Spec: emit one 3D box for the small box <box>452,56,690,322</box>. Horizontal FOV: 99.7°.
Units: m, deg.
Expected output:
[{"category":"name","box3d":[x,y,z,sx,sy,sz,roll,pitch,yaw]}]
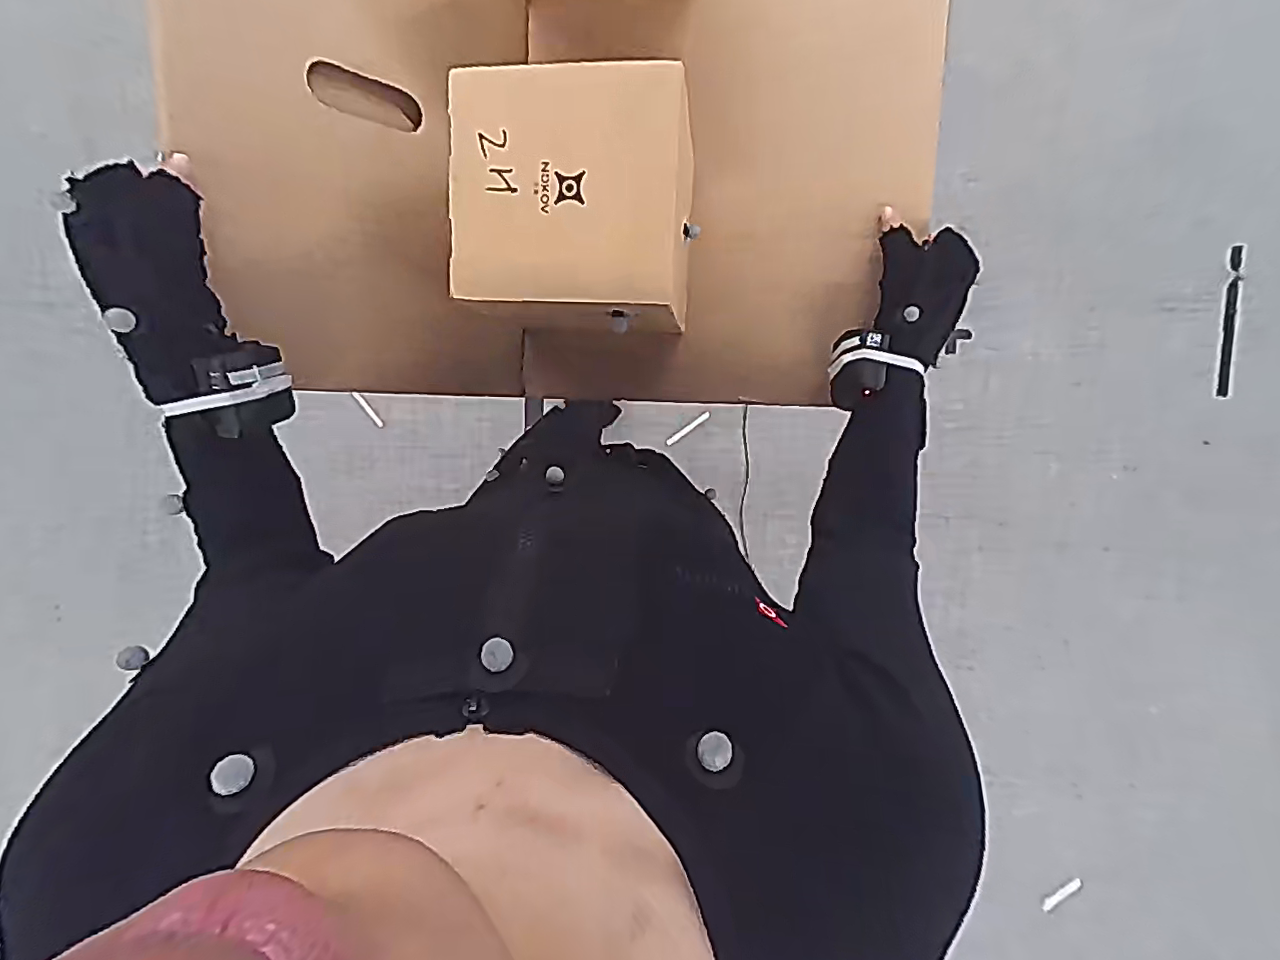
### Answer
[{"category":"small box","box3d":[-0.049,-0.240,0.487,0.179,0.176,0.168,5,98,8]}]
